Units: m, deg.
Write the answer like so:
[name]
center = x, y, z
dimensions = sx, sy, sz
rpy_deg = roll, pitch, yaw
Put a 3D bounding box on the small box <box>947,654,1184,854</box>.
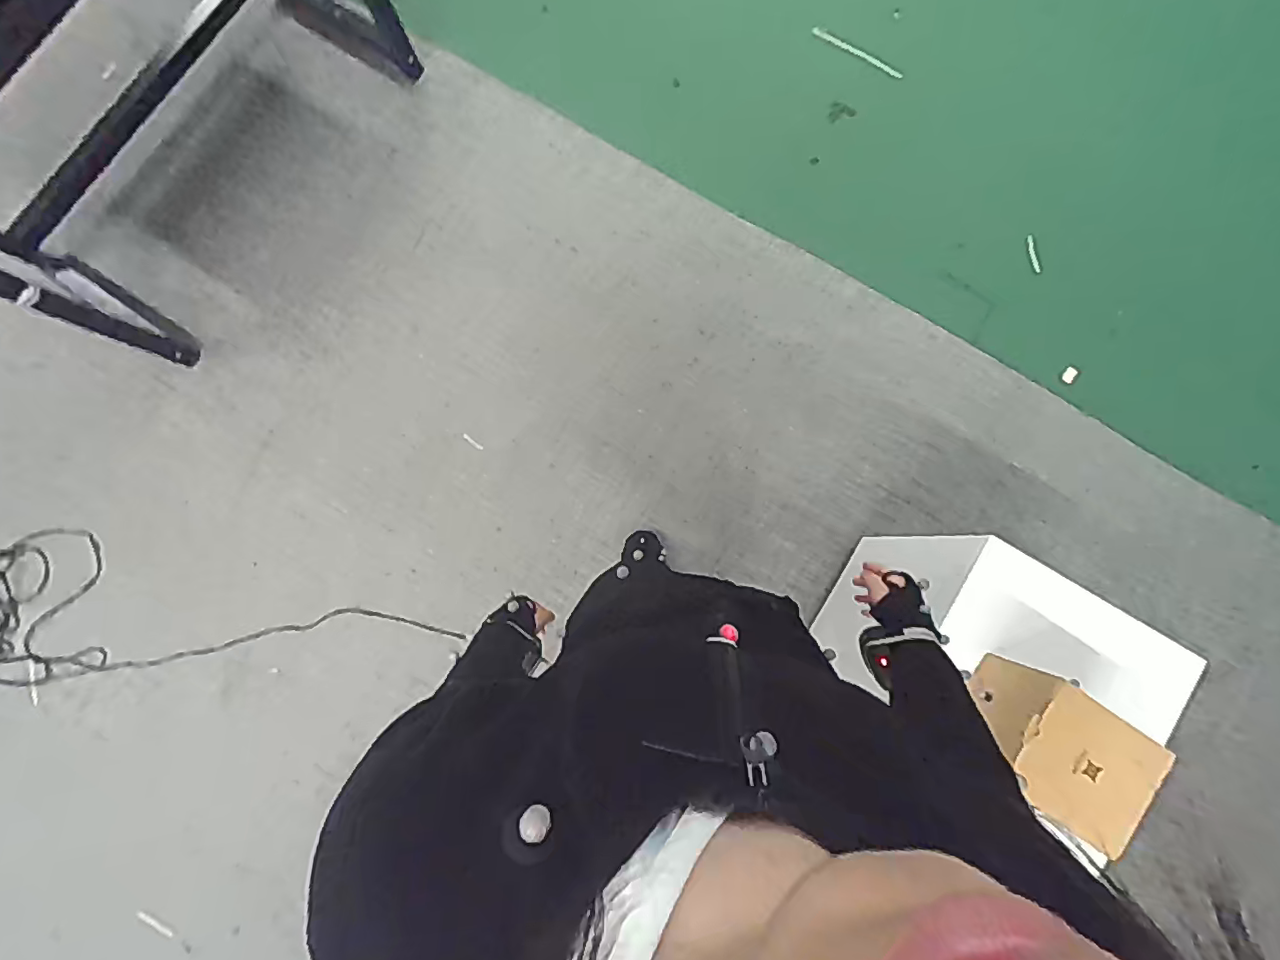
[small box]
center = 0.601, 0.379, 0.789
dimensions = 0.179, 0.176, 0.168
rpy_deg = 34, 85, 5
